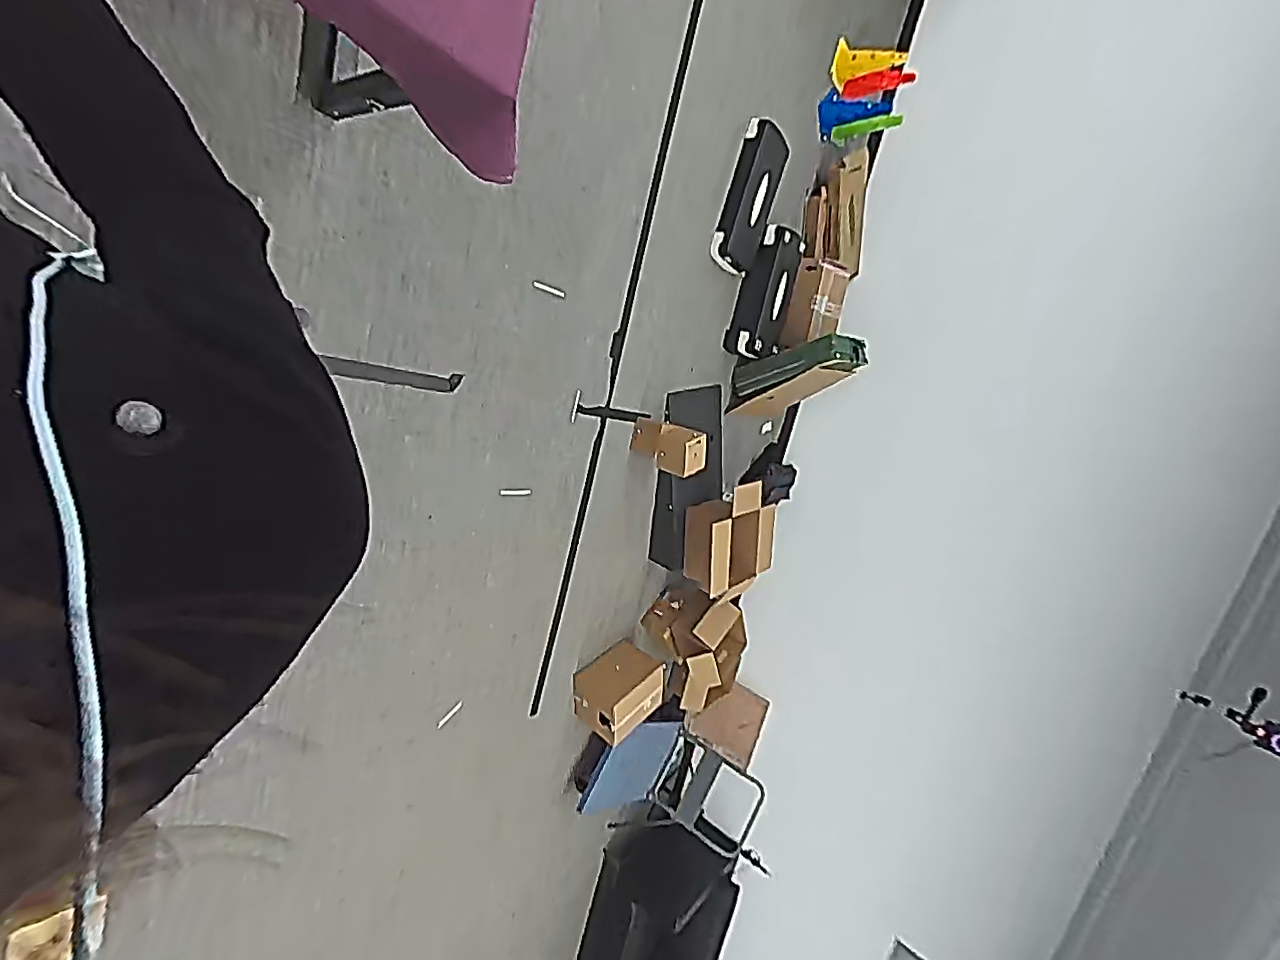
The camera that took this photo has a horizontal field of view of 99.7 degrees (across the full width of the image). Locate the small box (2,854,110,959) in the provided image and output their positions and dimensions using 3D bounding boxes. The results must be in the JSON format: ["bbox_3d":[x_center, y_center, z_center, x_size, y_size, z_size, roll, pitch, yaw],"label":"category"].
[{"bbox_3d":[-1.485,1.100,1.373,0.168,0.176,0.179,2,108,-53],"label":"small box"}]
